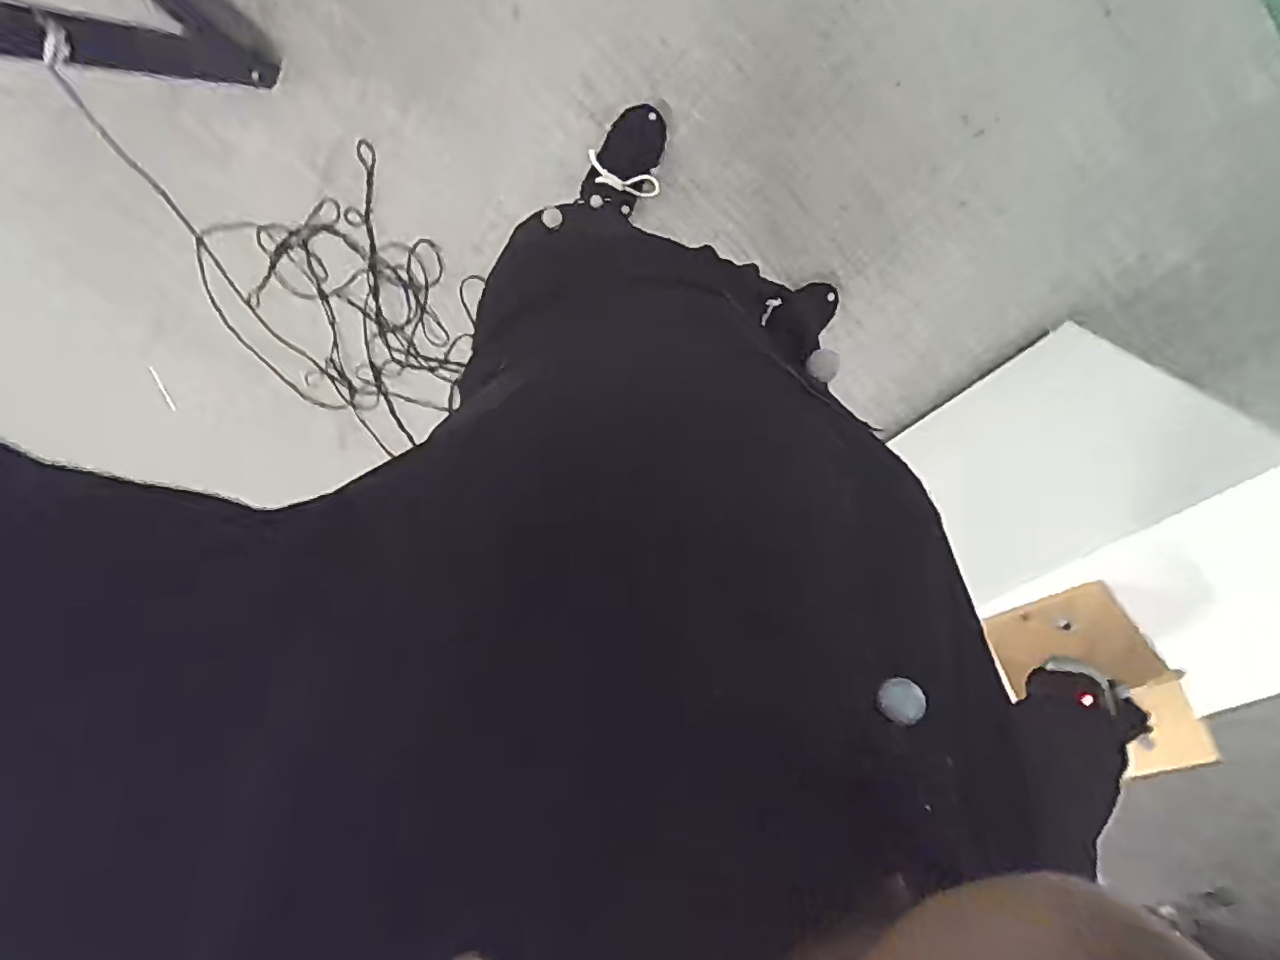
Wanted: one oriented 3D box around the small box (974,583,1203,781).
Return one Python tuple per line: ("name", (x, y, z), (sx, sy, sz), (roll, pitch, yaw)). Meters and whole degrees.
("small box", (0.606, 0.278, 0.752), (0.168, 0.176, 0.179), (-32, 111, 26))
